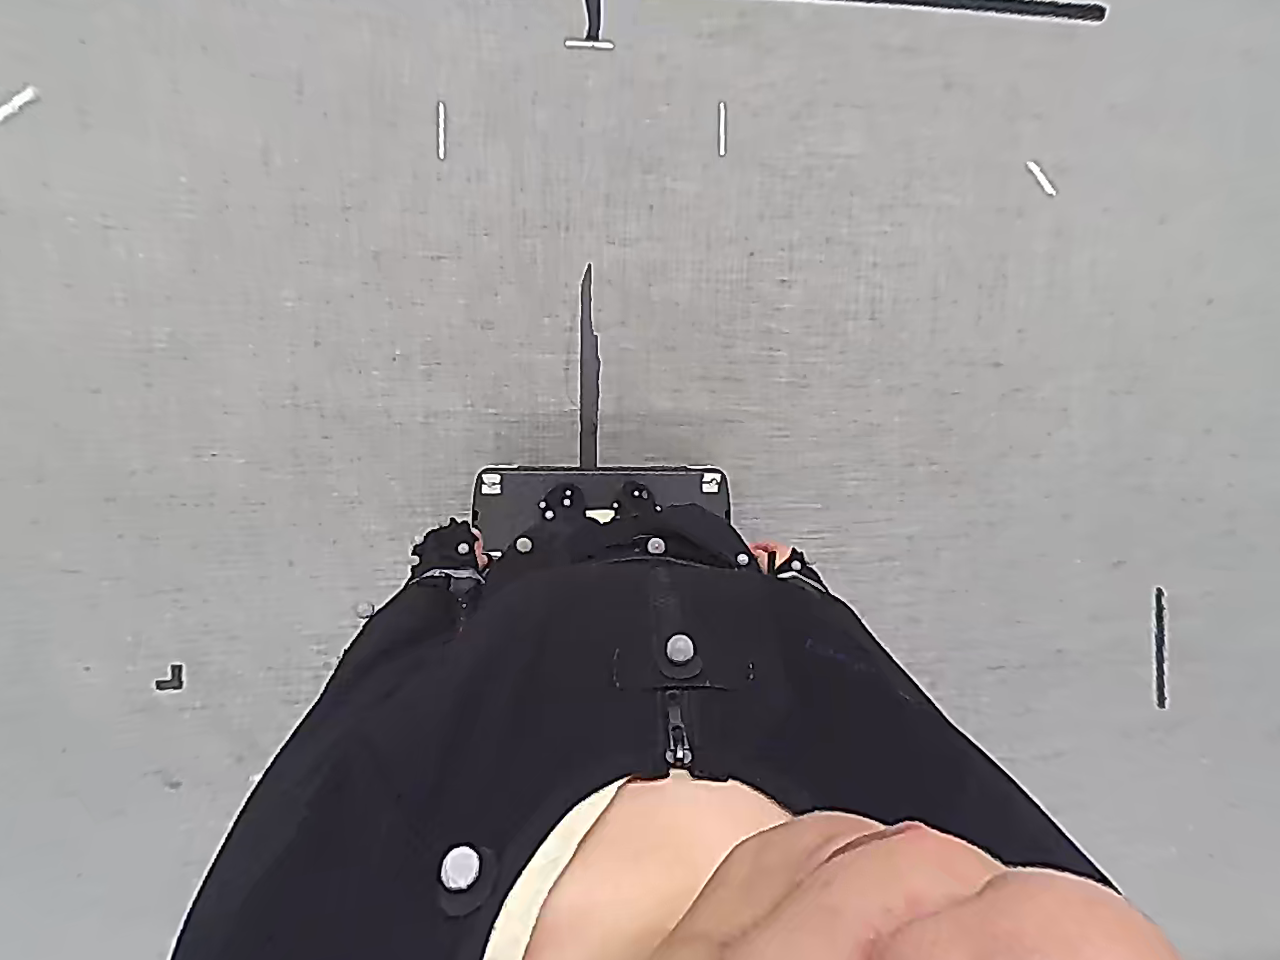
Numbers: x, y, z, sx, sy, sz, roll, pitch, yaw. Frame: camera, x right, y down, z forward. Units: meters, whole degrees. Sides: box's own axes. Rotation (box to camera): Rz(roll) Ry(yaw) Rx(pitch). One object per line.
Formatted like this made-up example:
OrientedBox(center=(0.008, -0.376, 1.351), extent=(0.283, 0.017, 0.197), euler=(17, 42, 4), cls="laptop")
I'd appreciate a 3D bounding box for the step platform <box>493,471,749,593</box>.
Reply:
OrientedBox(center=(-0.050, 0.141, 1.476), extent=(0.684, 0.204, 0.286), euler=(4, 89, -6), cls="step platform")
